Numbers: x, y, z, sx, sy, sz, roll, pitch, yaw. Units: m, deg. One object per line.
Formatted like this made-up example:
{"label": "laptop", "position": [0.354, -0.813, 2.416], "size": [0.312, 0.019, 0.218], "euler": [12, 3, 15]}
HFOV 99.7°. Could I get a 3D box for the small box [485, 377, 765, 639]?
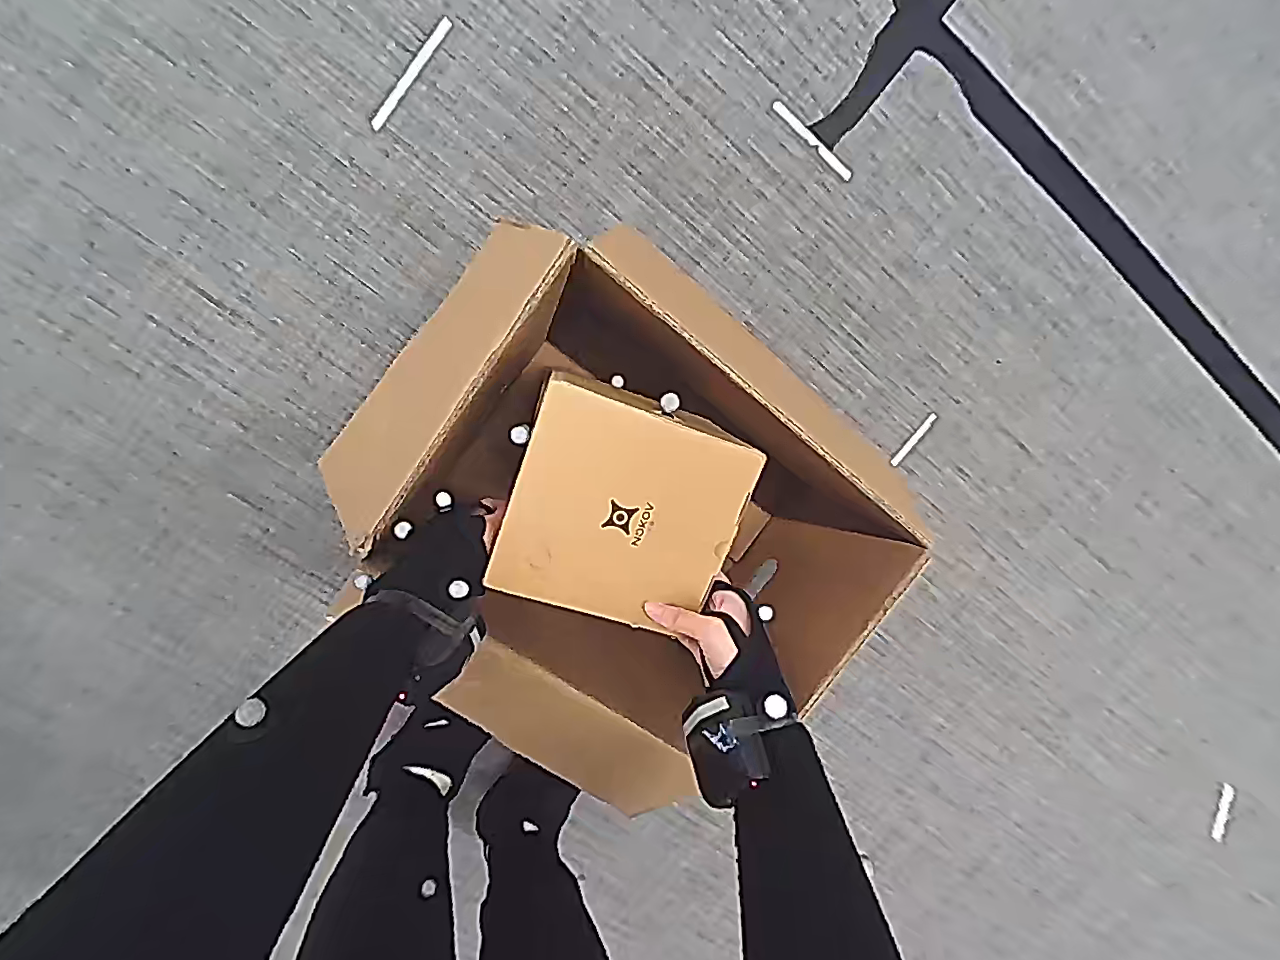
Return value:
{"label": "small box", "position": [-0.023, 0.012, 0.488], "size": [0.179, 0.176, 0.168], "euler": [18, 101, -14]}
